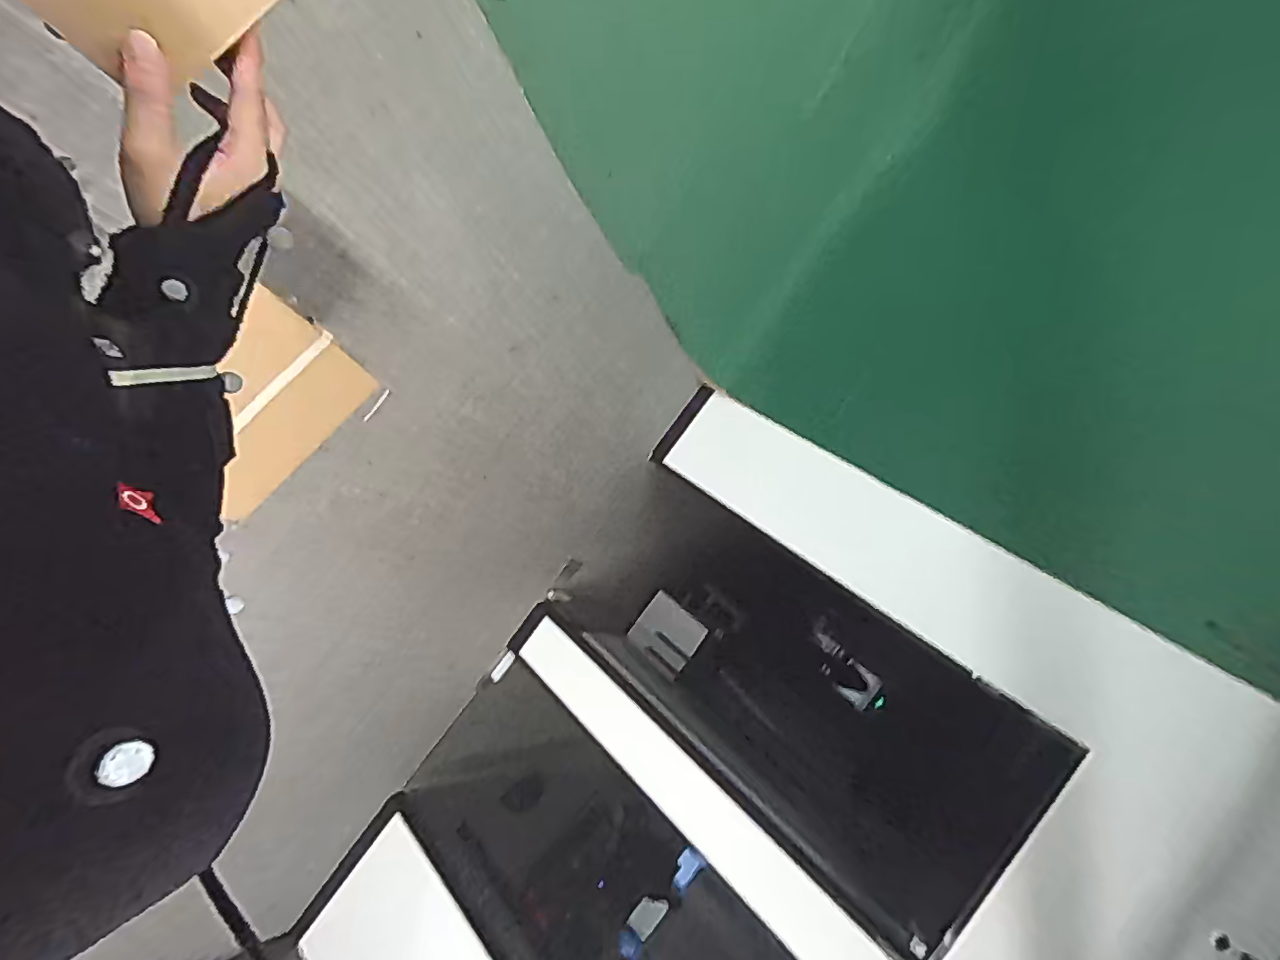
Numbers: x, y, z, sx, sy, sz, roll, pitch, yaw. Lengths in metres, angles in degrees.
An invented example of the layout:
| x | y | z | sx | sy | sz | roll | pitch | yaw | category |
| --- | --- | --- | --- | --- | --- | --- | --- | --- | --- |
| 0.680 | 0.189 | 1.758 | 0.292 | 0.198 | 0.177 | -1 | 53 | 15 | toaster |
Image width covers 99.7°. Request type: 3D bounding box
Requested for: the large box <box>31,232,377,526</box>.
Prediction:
| x | y | z | sx | sy | sz | roll | pitch | yaw | category |
| --- | --- | --- | --- | --- | --- | --- | --- | --- | --- |
| -0.830 | -0.193 | 1.063 | 0.408 | 0.320 | 0.320 | -48 | 150 | -9 | large box |
